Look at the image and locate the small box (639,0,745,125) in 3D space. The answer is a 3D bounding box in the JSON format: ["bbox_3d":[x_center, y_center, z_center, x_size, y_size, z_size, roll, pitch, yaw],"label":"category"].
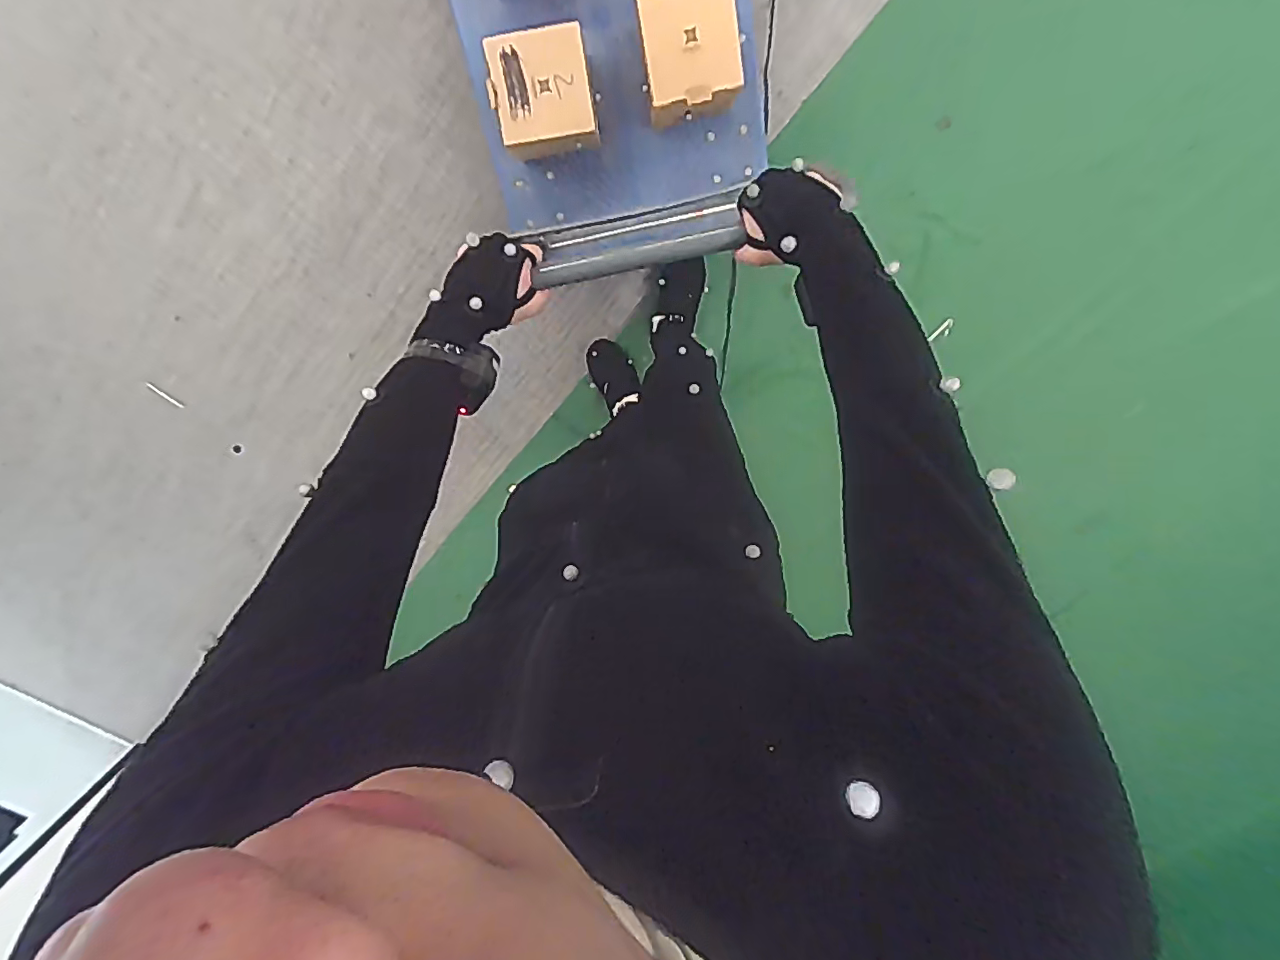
[{"bbox_3d":[0.091,-0.795,1.009,0.168,0.176,0.179,-10,114,5],"label":"small box"}]
